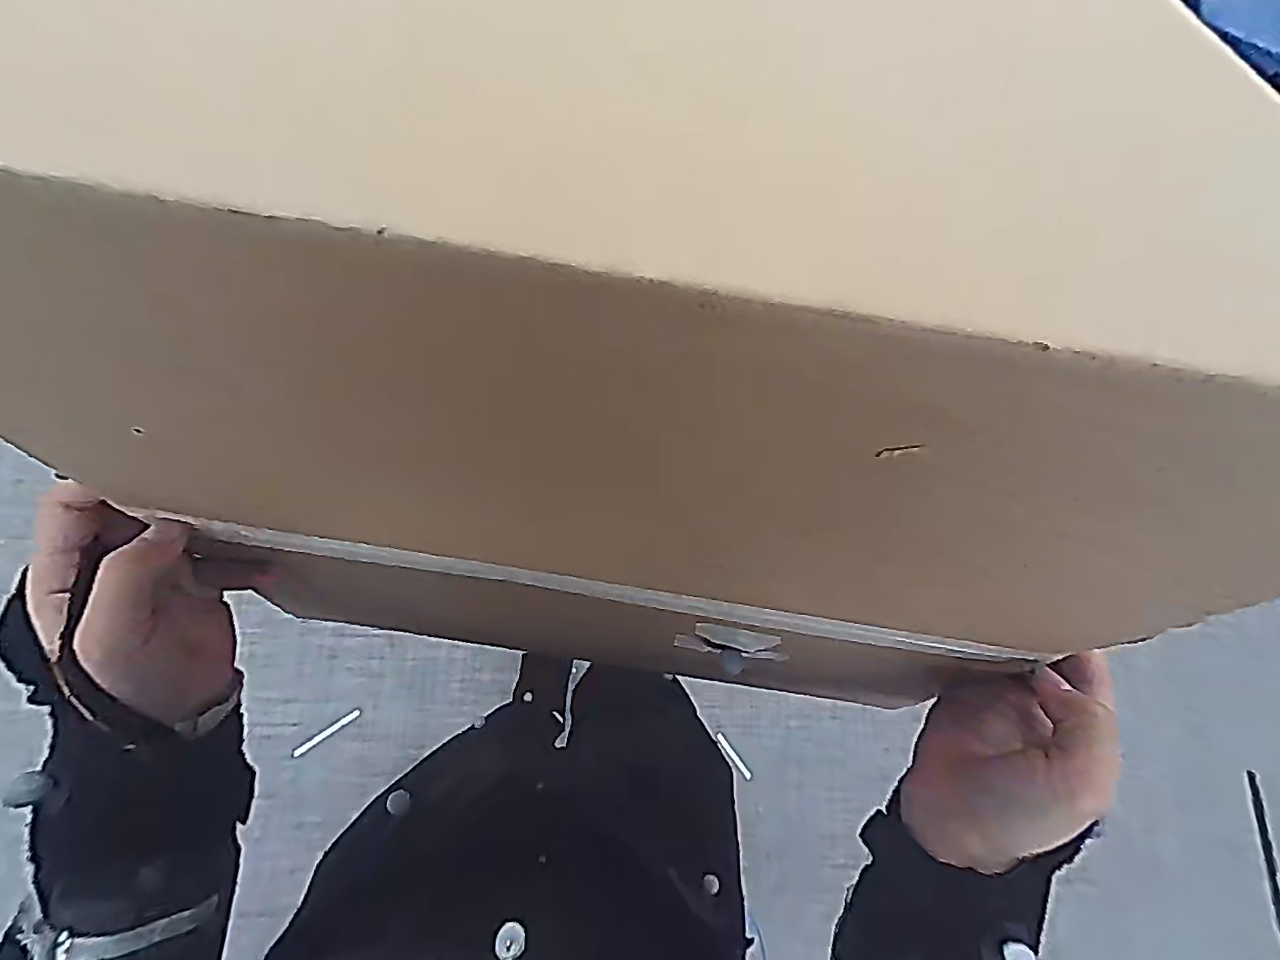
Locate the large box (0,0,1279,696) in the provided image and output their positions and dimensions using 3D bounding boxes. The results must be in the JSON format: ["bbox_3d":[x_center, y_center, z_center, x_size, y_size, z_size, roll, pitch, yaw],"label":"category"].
[{"bbox_3d":[0.000,-0.085,0.320,0.408,0.320,0.320,8,59,-1],"label":"large box"}]
